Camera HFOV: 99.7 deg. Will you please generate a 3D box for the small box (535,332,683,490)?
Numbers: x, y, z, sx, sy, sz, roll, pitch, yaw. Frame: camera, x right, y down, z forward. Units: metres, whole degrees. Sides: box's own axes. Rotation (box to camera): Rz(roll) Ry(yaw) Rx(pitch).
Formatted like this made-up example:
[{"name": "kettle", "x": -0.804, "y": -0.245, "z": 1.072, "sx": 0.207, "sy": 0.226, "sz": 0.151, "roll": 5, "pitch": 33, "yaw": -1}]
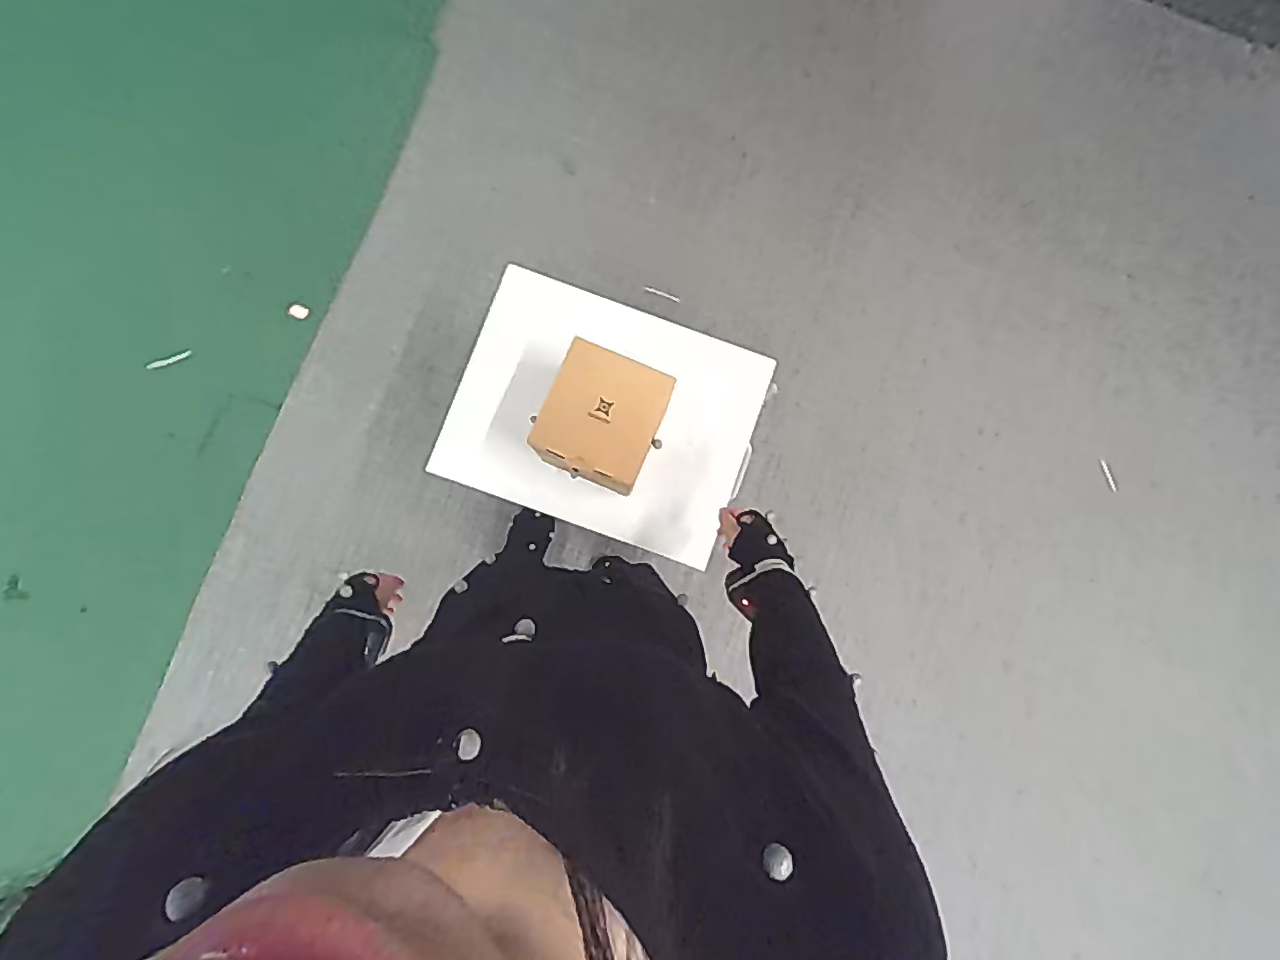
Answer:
[{"name": "small box", "x": -0.048, "y": -0.097, "z": 0.850, "sx": 0.168, "sy": 0.176, "sz": 0.179, "roll": 23, "pitch": 84, "yaw": 0}]
